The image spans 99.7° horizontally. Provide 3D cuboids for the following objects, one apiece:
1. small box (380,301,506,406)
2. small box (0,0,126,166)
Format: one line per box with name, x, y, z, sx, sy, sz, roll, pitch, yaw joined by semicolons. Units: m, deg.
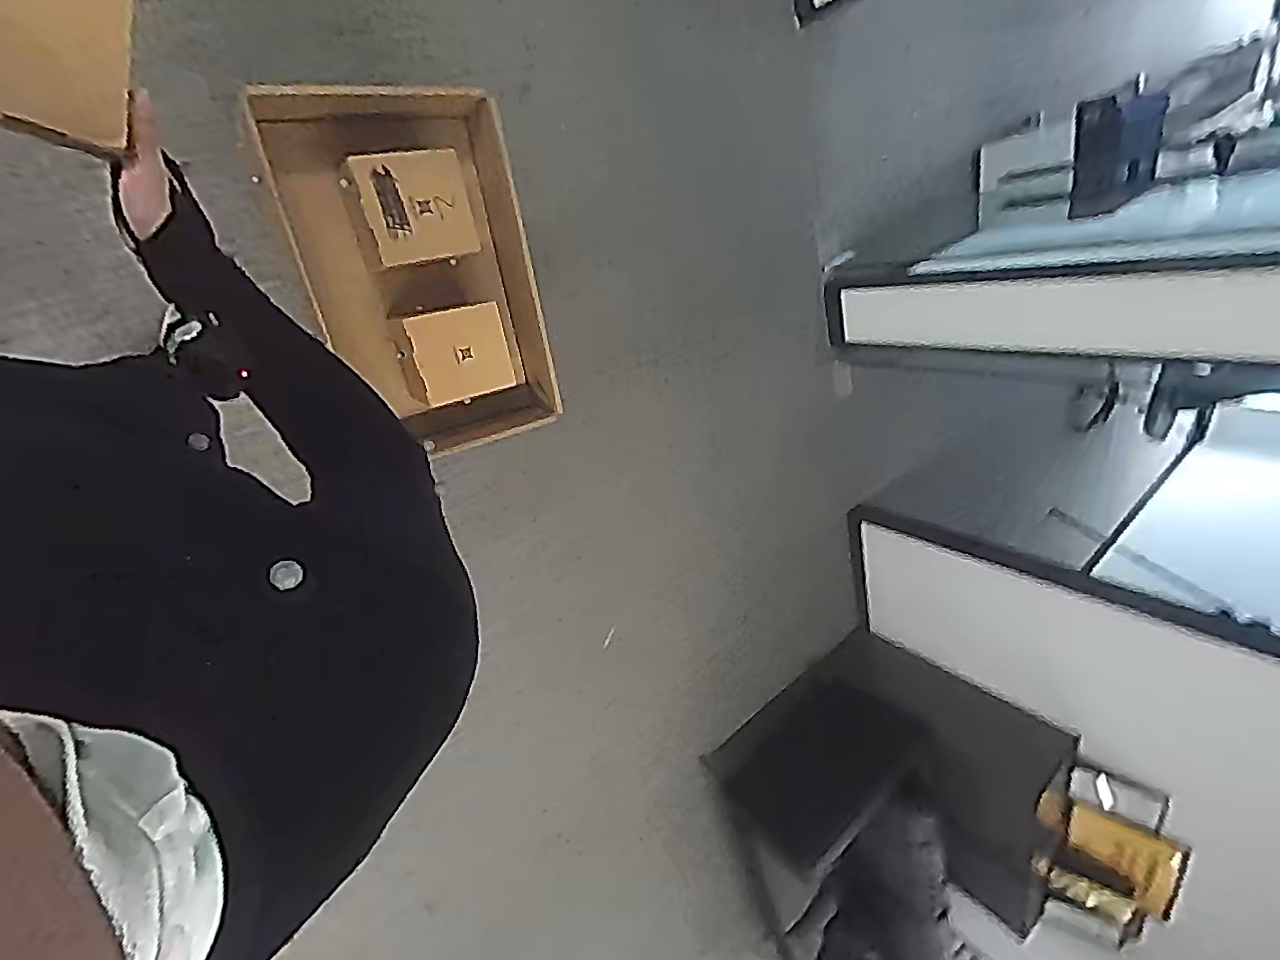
small box;-0.397;-0.263;1.089;0.179;0.176;0.168;-22;117;-28
small box;-0.488;-0.350;0.383;0.168;0.176;0.179;-1;112;-48
